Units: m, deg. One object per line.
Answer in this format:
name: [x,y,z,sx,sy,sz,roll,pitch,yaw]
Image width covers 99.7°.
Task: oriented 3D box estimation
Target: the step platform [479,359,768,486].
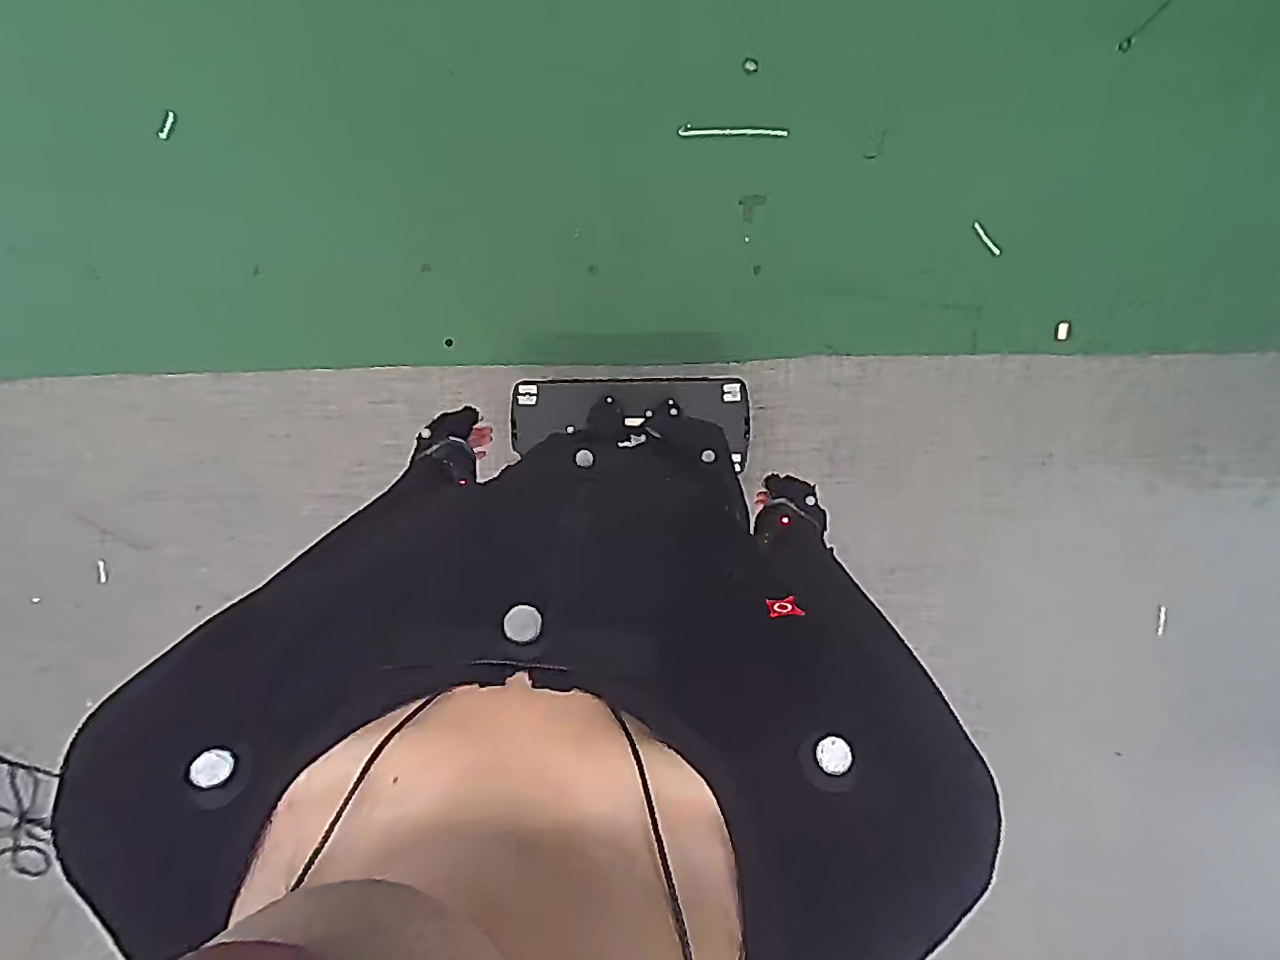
step platform: [-0.038,-0.147,1.365,0.684,0.204,0.286,-2,99,0]
